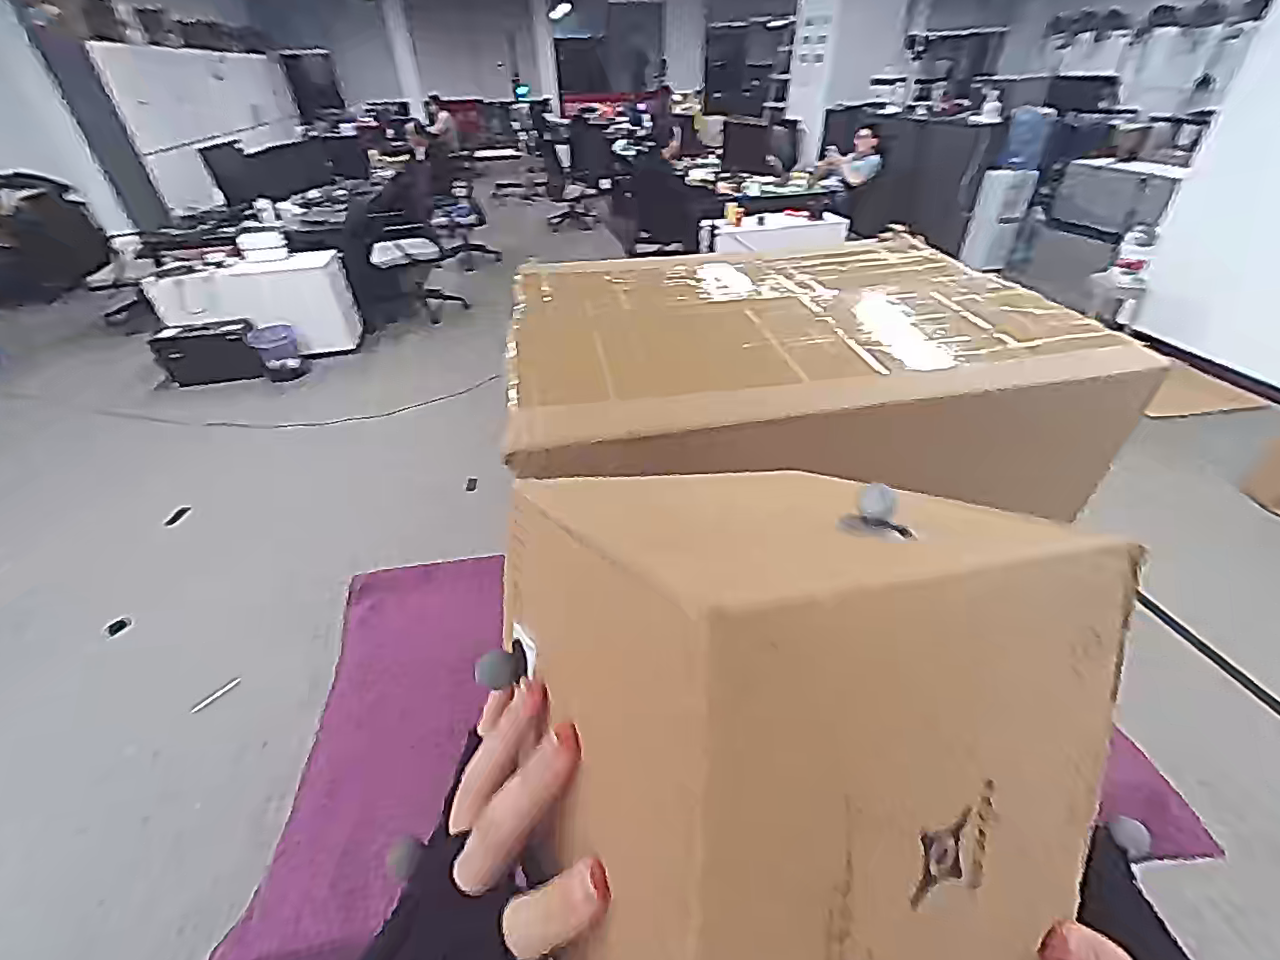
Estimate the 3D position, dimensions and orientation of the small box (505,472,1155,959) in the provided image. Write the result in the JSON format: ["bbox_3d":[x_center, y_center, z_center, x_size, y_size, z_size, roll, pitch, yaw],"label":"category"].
[{"bbox_3d":[0.051,0.089,0.222,0.179,0.168,0.176,-2,9,-26],"label":"small box"}]
